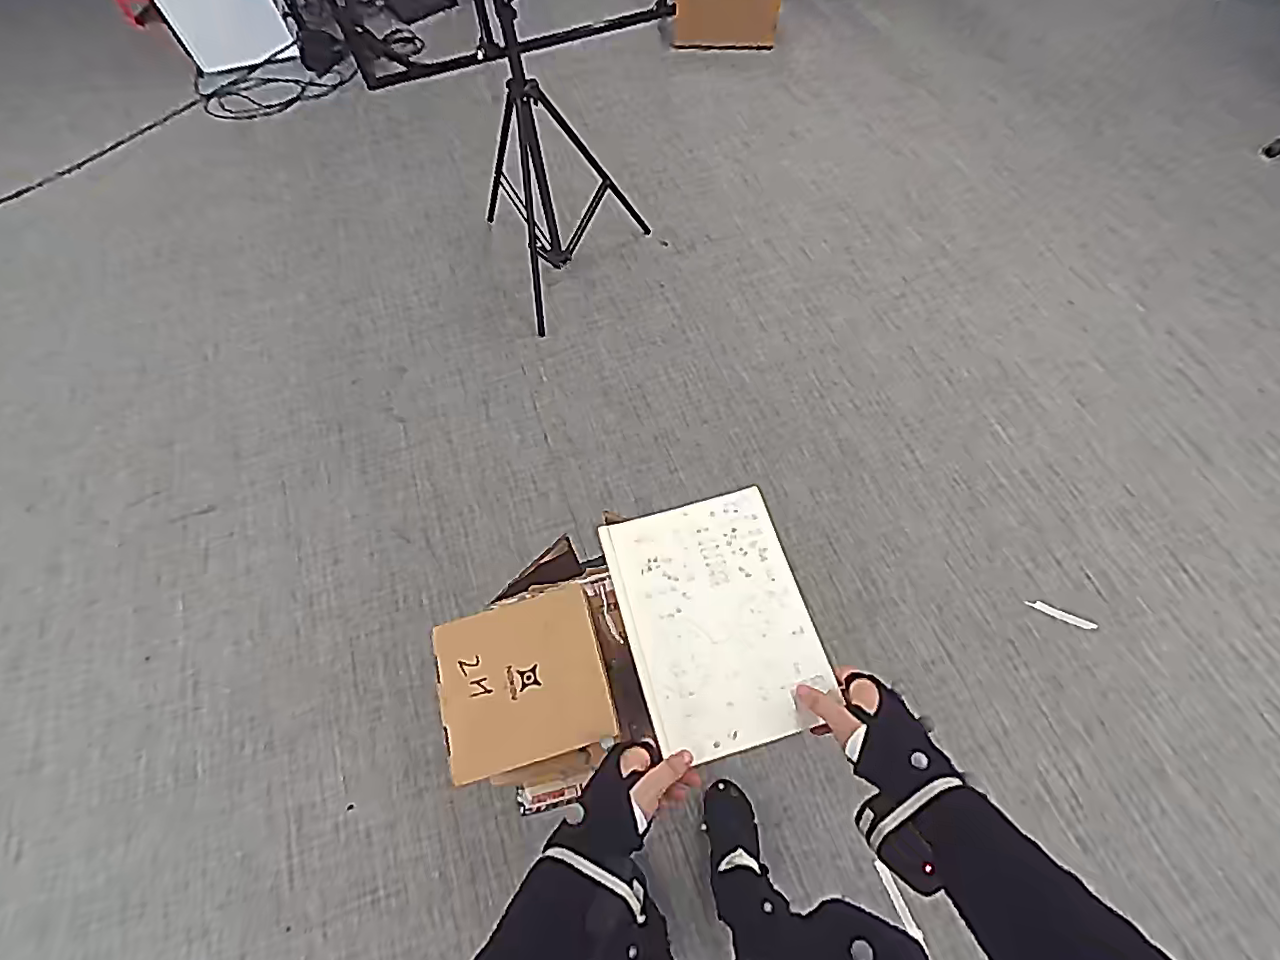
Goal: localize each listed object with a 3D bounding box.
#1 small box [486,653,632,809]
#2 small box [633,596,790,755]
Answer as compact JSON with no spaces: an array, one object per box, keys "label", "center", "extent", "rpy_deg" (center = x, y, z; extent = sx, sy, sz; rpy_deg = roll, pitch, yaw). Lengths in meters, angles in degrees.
[{"label":"small box","center":[-0.110,0.359,0.793],"extent":[0.179,0.176,0.168],"rpy_deg":[-12,67,-2]},{"label":"small box","center":[0.095,0.294,0.817],"extent":[0.179,0.176,0.168],"rpy_deg":[-19,67,-8]}]
